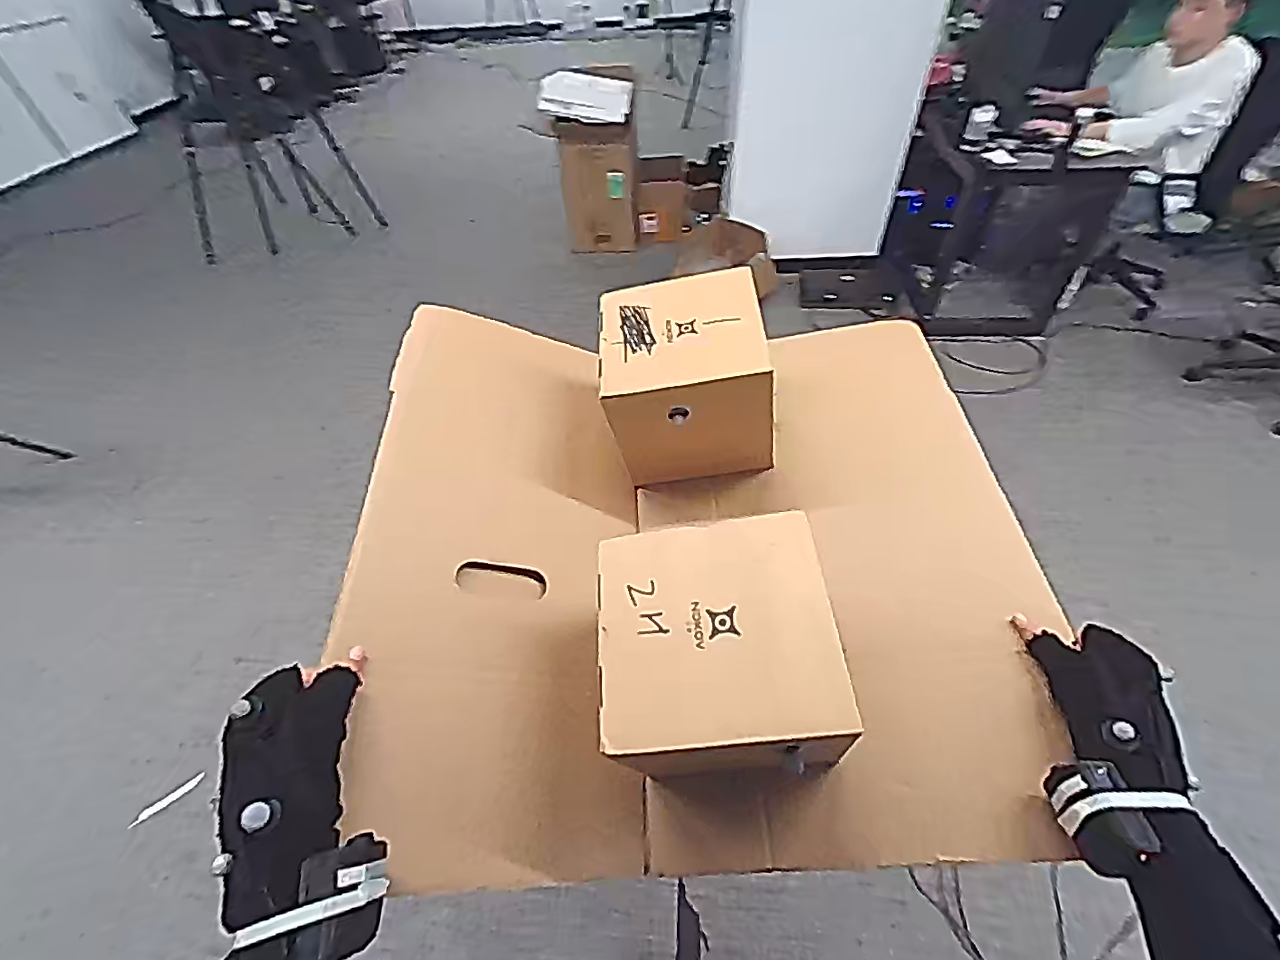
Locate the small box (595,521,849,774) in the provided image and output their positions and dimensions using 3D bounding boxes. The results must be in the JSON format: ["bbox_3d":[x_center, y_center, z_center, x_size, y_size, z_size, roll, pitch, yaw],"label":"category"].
[{"bbox_3d":[0.066,0.155,0.475,0.179,0.176,0.168,-10,56,9],"label":"small box"}]

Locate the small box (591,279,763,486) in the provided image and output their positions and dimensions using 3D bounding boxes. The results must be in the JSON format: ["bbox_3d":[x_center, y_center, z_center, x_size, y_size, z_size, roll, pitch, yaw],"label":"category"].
[{"bbox_3d":[0.048,-0.107,0.651,0.179,0.176,0.168,-8,56,8],"label":"small box"}]
